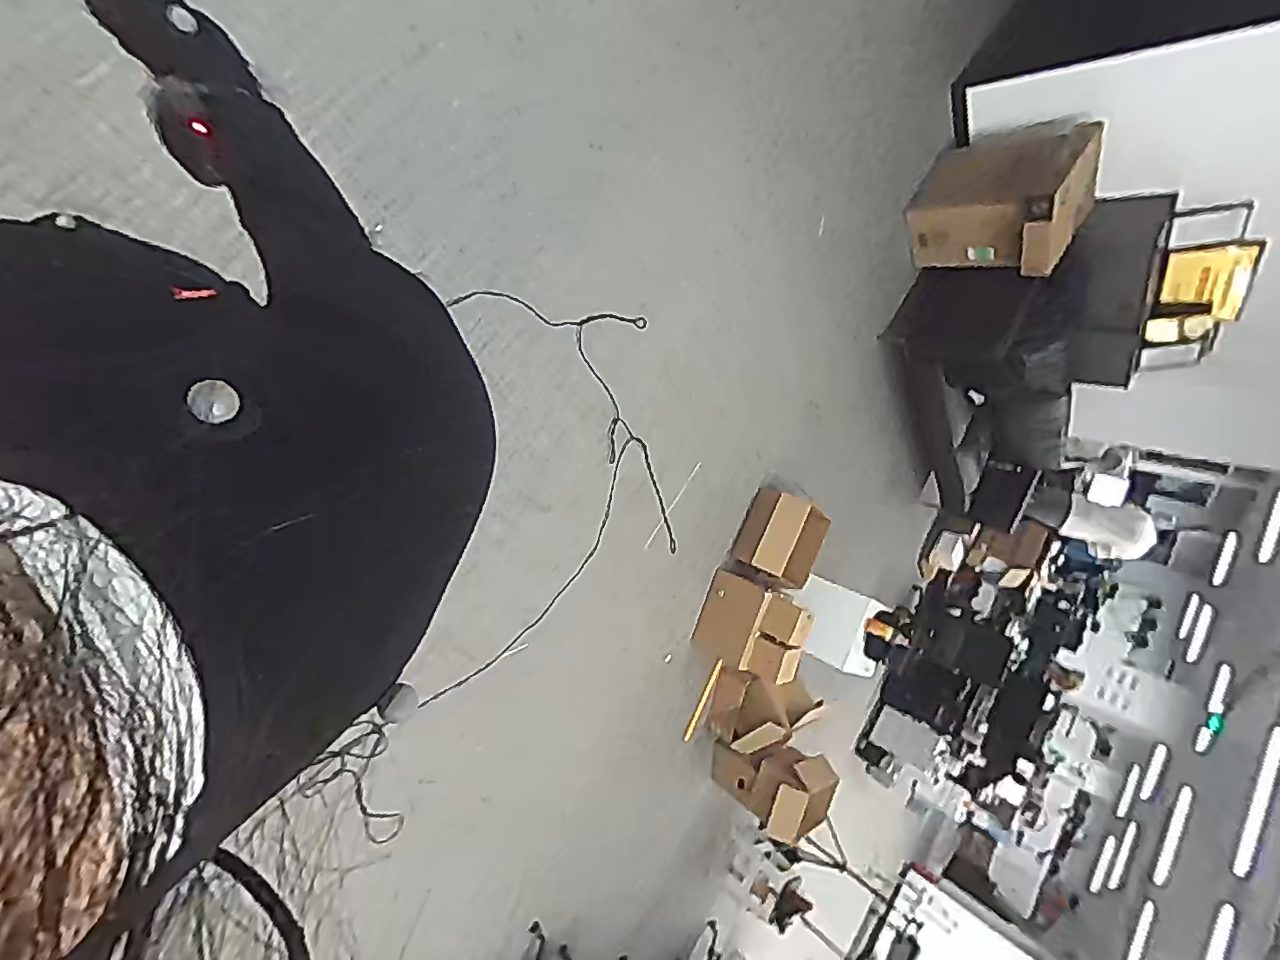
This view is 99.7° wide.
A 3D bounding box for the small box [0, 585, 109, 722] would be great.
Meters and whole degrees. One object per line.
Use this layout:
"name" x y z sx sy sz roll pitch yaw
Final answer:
"small box" -1.173 0.325 1.029 0.168 0.176 0.179 42 75 -46
